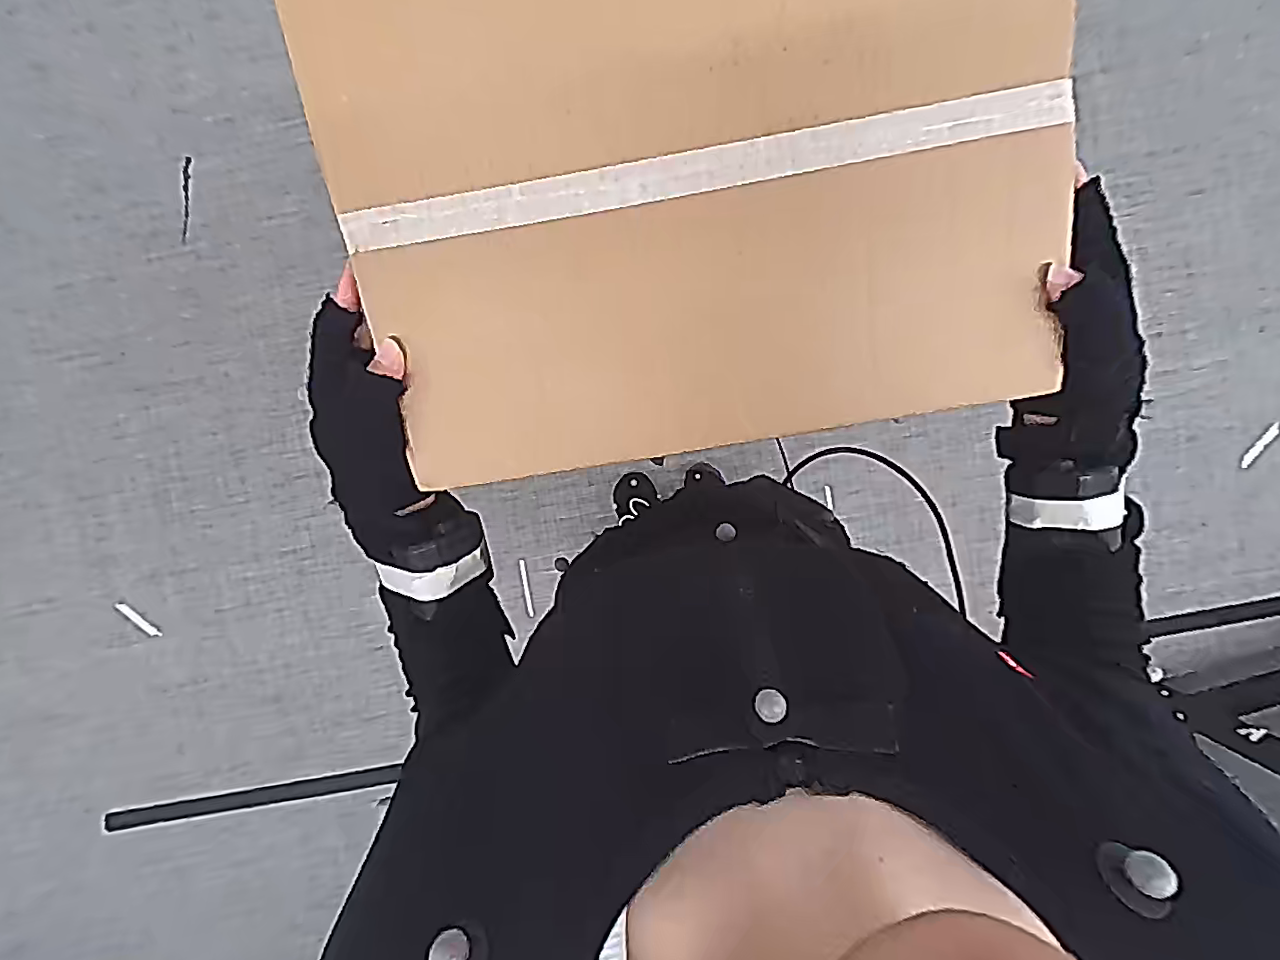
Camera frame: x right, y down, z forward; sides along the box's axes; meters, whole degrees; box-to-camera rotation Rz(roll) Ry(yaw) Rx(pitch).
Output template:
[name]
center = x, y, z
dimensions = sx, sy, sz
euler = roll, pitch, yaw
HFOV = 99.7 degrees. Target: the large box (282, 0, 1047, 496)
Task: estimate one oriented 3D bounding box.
[large box]
center = 0.029, -0.208, 0.454
dimensions = 0.408, 0.320, 0.320
euler = -9, 105, 2
